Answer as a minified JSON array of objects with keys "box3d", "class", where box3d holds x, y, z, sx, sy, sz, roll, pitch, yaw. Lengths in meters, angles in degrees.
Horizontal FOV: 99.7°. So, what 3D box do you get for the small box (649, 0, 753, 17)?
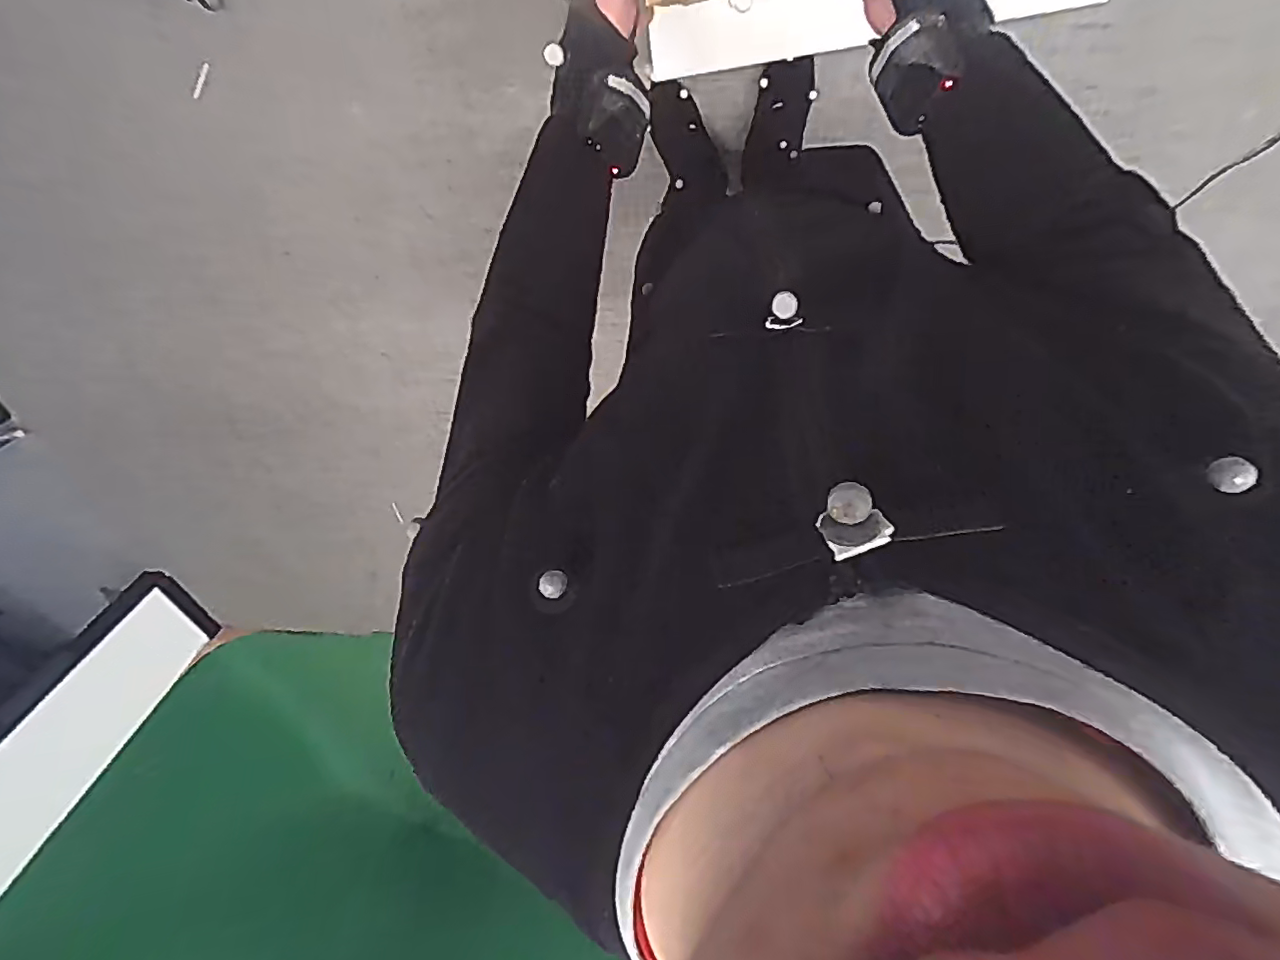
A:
[{"box3d":[0.081,-0.468,0.392,0.168,0.176,0.179,-4,130,14],"class":"small box"}]
